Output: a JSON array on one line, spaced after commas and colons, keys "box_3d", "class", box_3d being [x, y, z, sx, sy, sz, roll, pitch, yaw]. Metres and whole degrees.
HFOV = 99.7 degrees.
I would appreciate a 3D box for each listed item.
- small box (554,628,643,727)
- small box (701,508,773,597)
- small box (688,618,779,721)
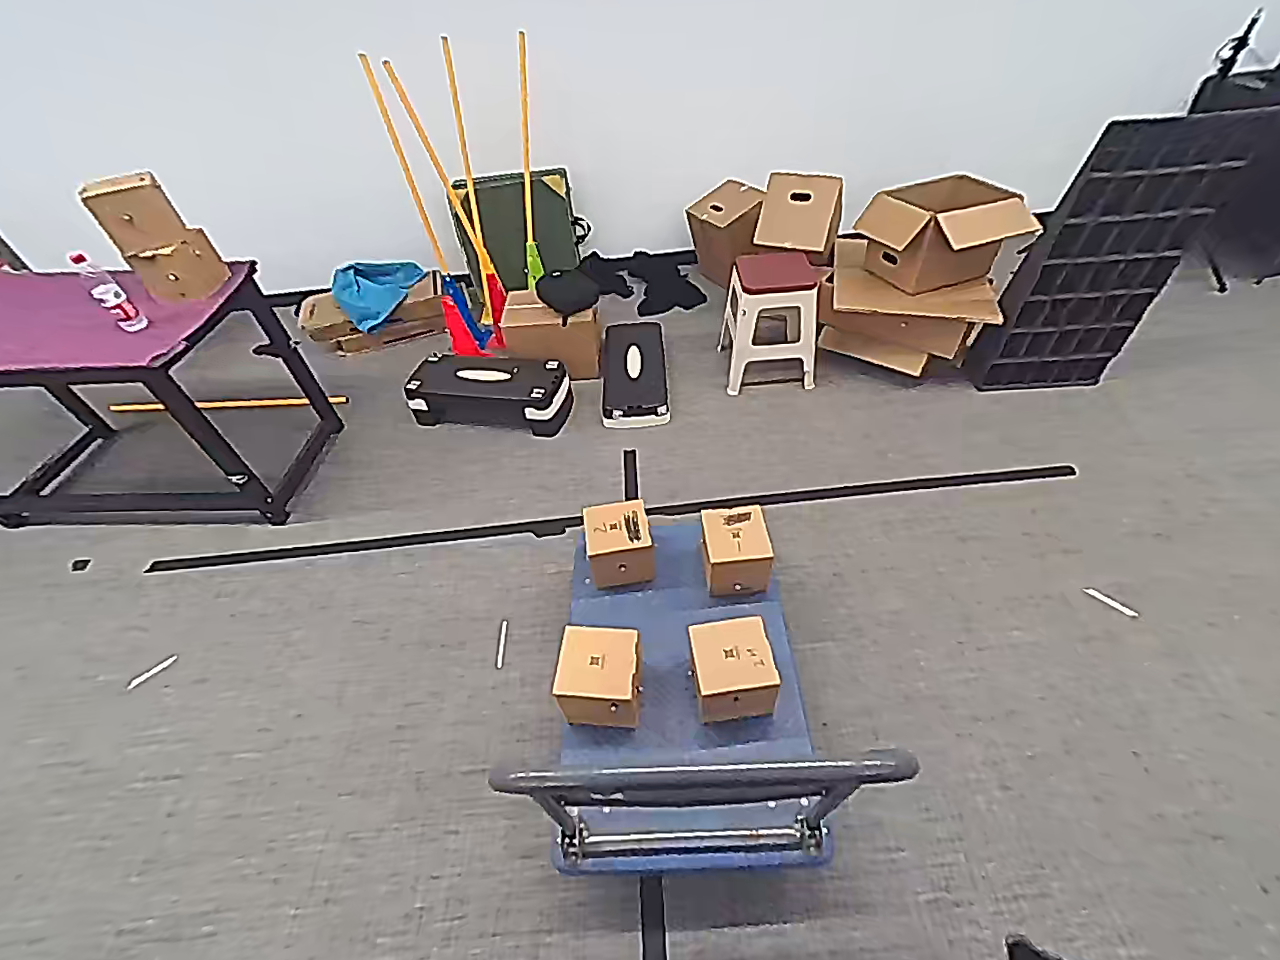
[{"box_3d": [-0.090, 0.469, 1.280, 0.179, 0.176, 0.168, 2, 47, 5], "class": "small box"}, {"box_3d": [0.260, 0.201, 1.497, 0.168, 0.176, 0.179, -6, 48, 0], "class": "small box"}, {"box_3d": [0.213, 0.449, 1.269, 0.179, 0.176, 0.168, -7, 47, -2], "class": "small box"}]
